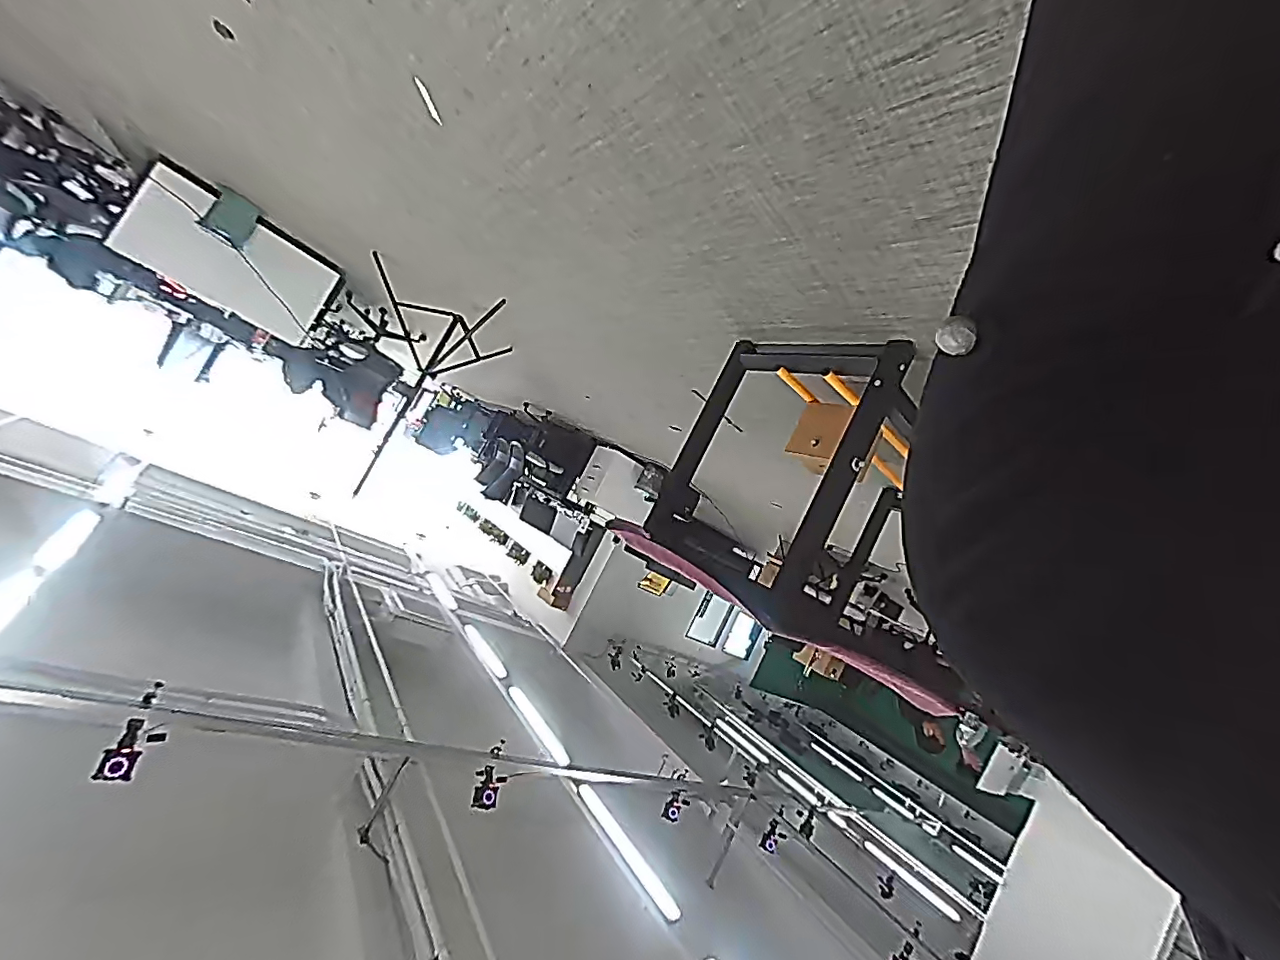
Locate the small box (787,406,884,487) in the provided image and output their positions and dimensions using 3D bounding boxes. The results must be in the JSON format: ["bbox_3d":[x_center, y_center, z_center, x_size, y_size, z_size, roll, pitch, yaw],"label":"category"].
[{"bbox_3d":[0.565,-0.102,1.559,0.168,0.176,0.179,30,173,-36],"label":"small box"}]
